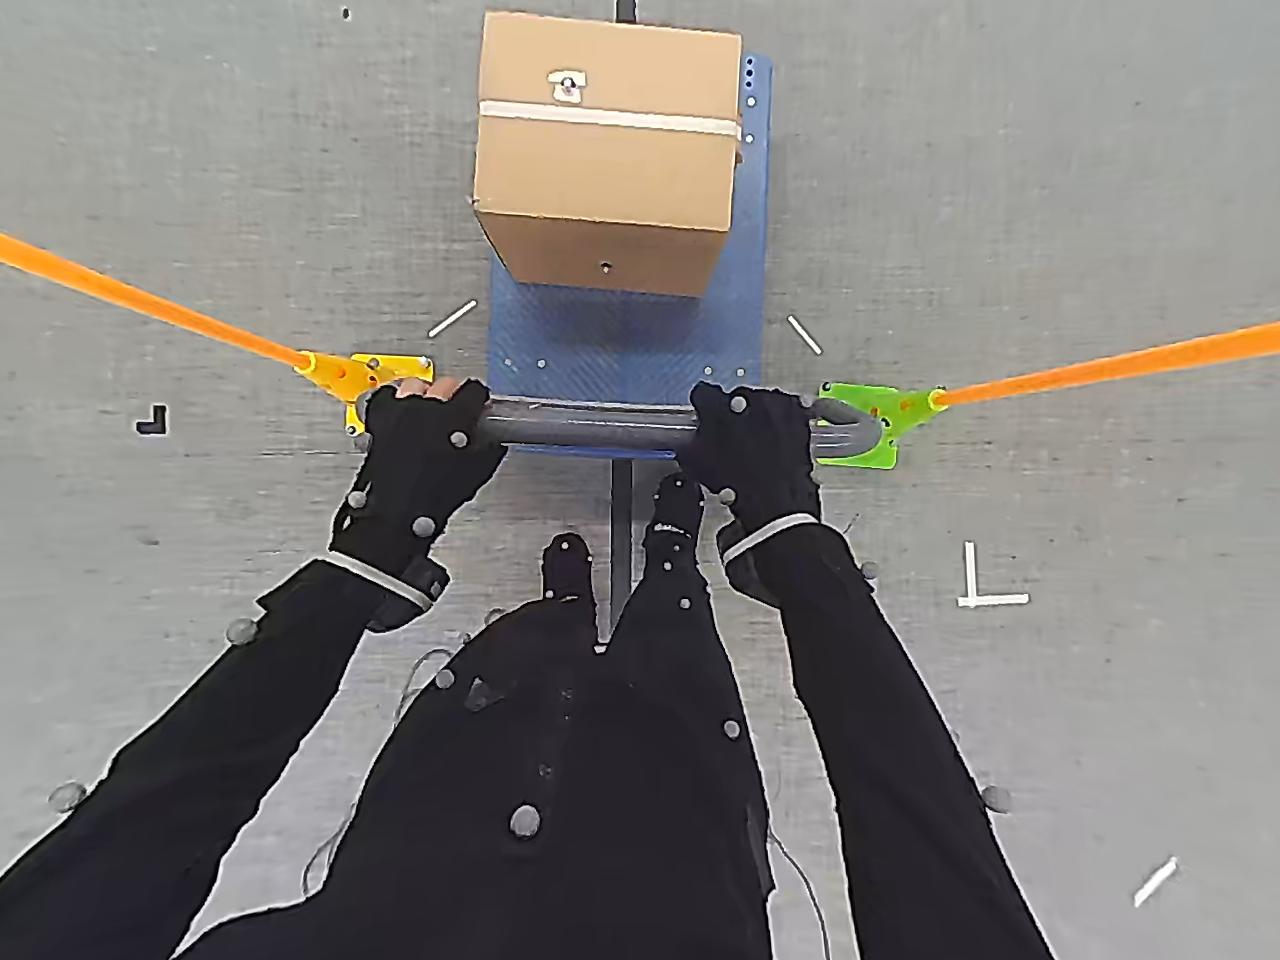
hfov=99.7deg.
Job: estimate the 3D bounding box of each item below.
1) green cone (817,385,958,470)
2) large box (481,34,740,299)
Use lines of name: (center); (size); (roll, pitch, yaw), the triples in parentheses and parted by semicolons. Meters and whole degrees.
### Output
green cone: (0.541, -0.132, 1.150); (0.202, 0.368, 0.200); (4, 89, -2)
large box: (-0.045, -0.545, 1.006); (0.408, 0.320, 0.320); (4, 89, 0)
